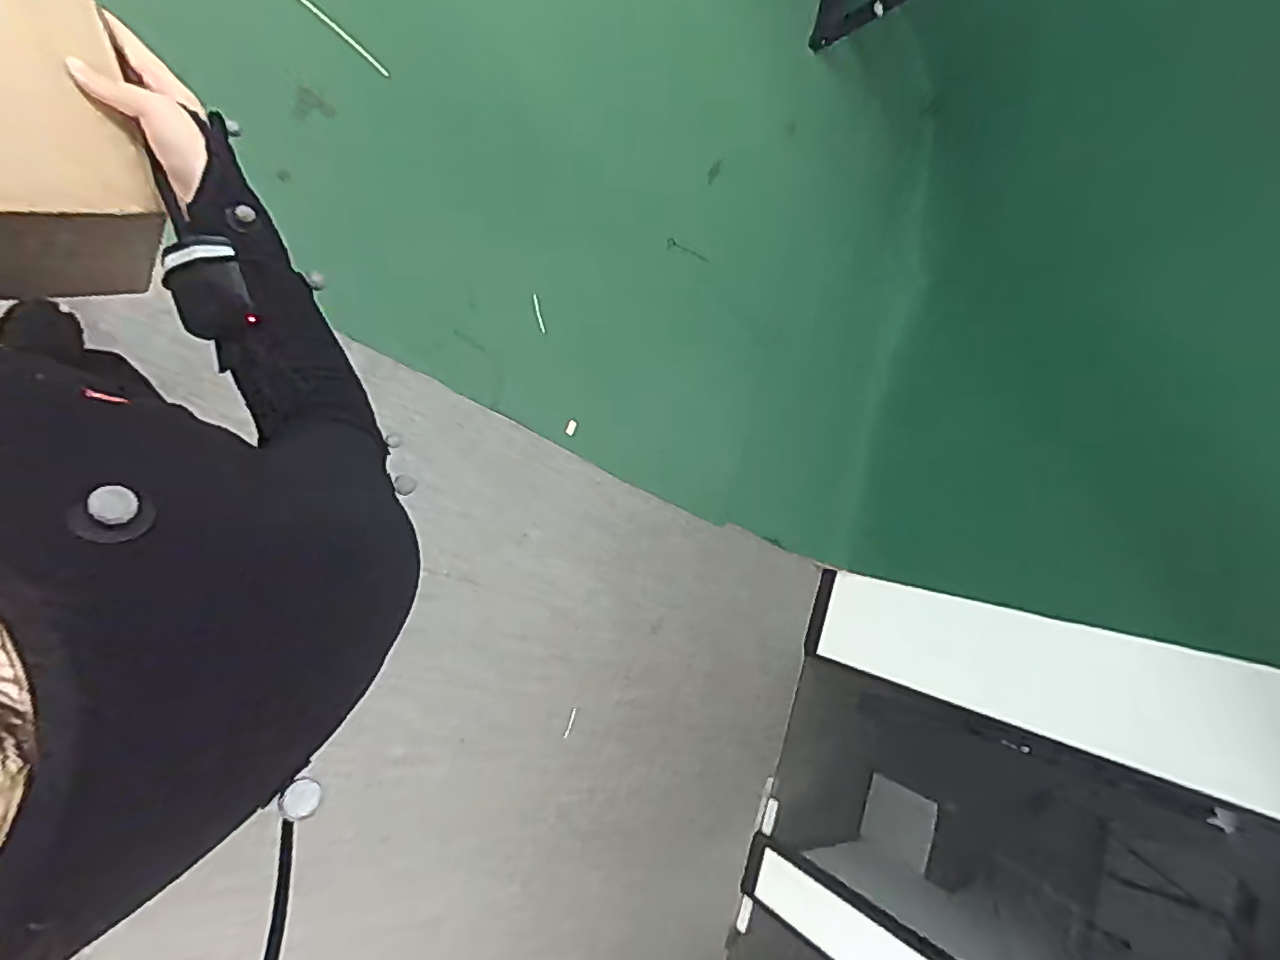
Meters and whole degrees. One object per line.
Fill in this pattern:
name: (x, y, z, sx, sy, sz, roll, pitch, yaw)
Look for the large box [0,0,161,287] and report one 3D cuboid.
large box: (-0.645, -0.311, 0.360, 0.408, 0.320, 0.320, -24, 110, -43)
